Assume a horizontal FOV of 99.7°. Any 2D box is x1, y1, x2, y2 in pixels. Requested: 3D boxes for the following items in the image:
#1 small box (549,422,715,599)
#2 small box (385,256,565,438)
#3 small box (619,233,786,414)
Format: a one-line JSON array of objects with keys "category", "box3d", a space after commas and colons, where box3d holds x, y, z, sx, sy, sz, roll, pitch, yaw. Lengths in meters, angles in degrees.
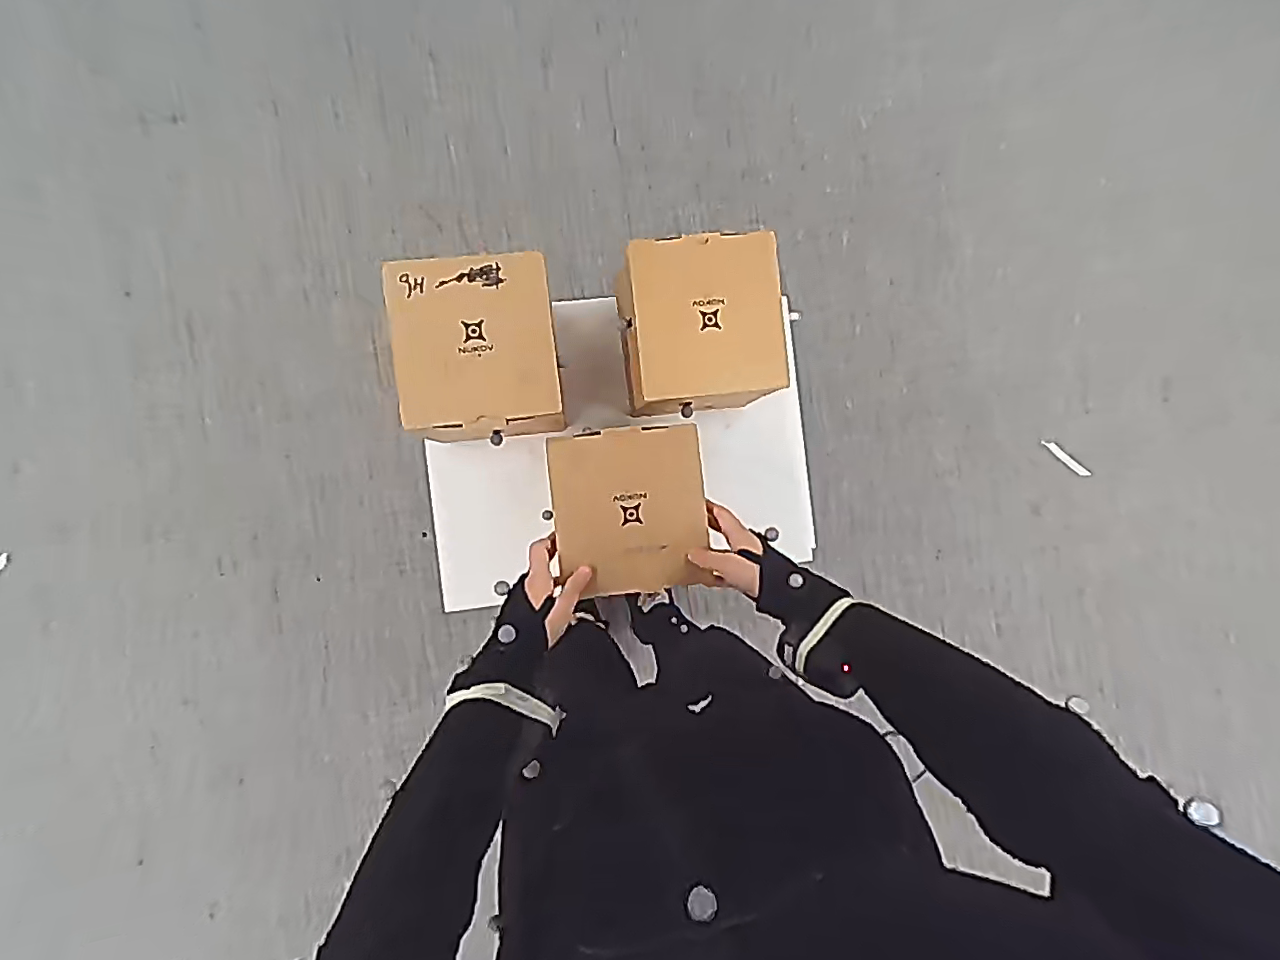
[{"category": "small box", "box3d": [-0.016, 0.034, 0.658, 0.168, 0.176, 0.179, -7, 90, -5]}, {"category": "small box", "box3d": [-0.181, -0.143, 0.641, 0.168, 0.176, 0.179, -7, 92, -7]}, {"category": "small box", "box3d": [0.066, -0.179, 0.669, 0.168, 0.176, 0.179, -7, 90, -6]}]
